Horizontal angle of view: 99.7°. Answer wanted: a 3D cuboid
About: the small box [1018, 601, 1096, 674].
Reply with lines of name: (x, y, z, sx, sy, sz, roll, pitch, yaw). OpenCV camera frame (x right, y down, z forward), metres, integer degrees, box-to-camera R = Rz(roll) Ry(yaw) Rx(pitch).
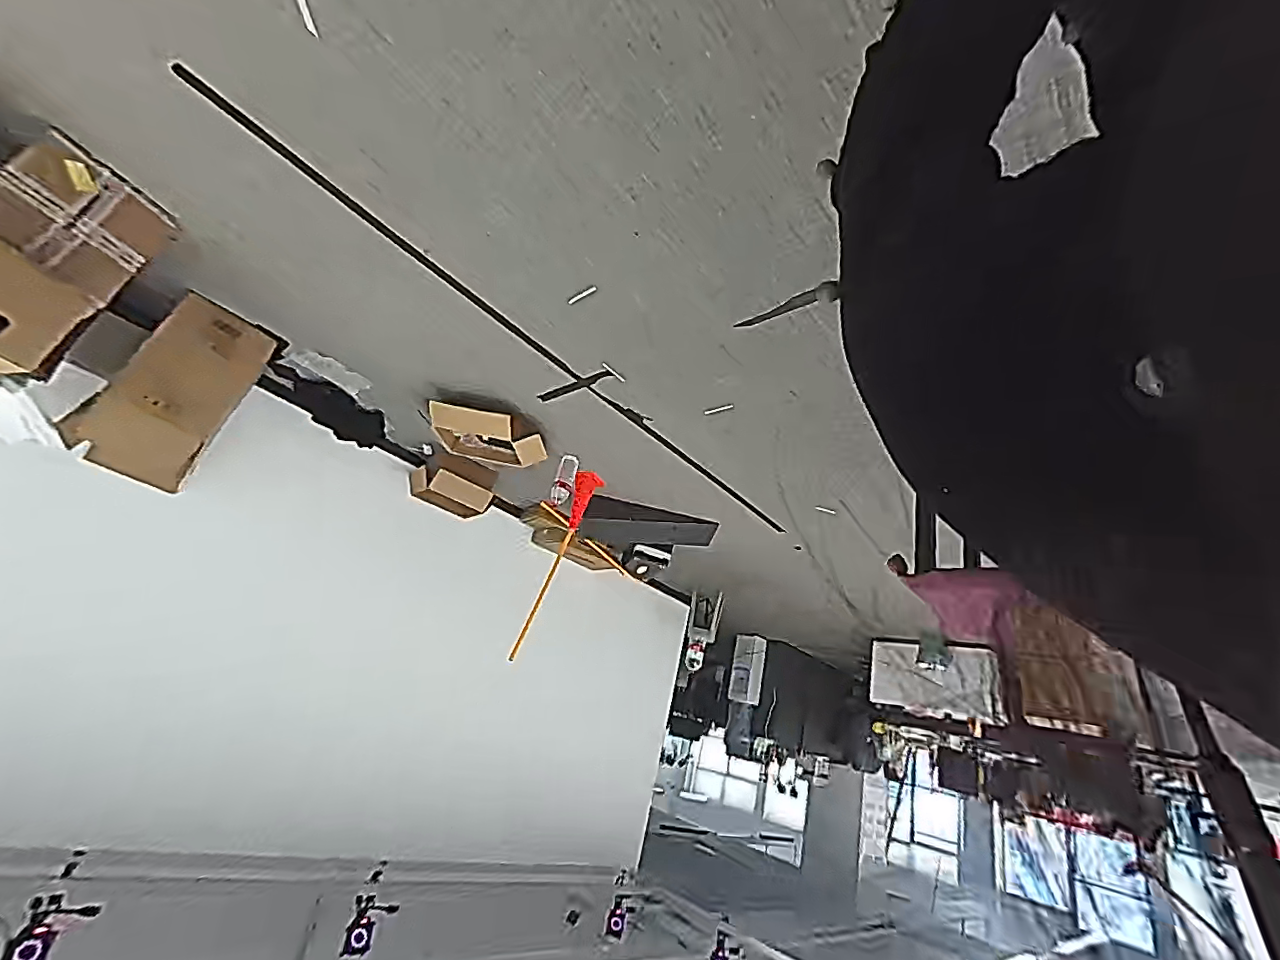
small box: (1.234, 0.467, 1.600, 0.168, 0.176, 0.179, -9, 147, 41)

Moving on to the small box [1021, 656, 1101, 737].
small box: (1.192, 0.610, 1.531, 0.168, 0.176, 0.179, -7, 149, 39)
